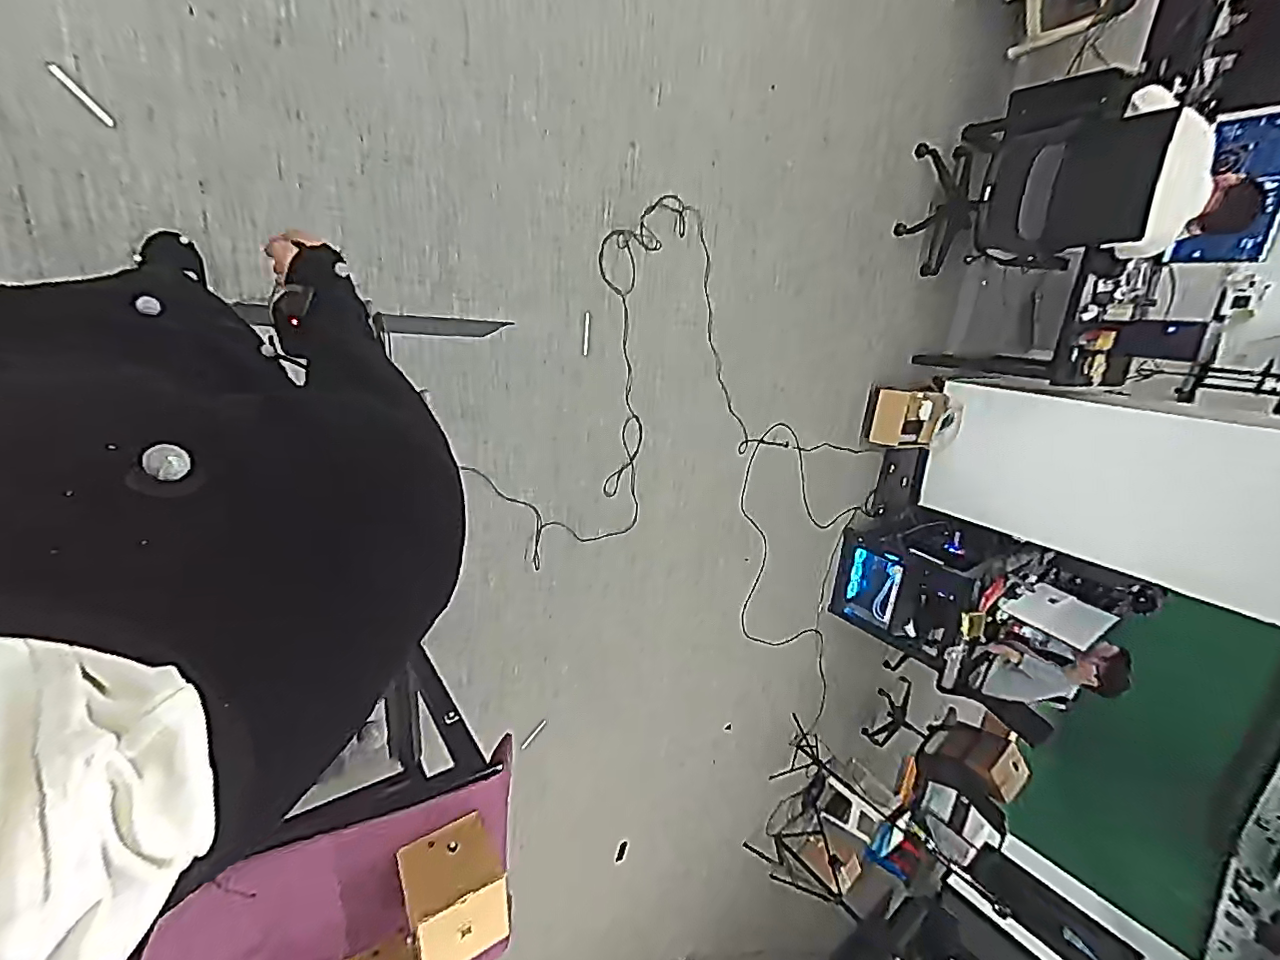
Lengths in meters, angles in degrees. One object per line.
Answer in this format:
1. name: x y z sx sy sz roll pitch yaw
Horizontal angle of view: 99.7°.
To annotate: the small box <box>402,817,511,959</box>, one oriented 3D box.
1. small box: -0.374 0.842 1.099 0.168 0.176 0.179 -12 113 -33
